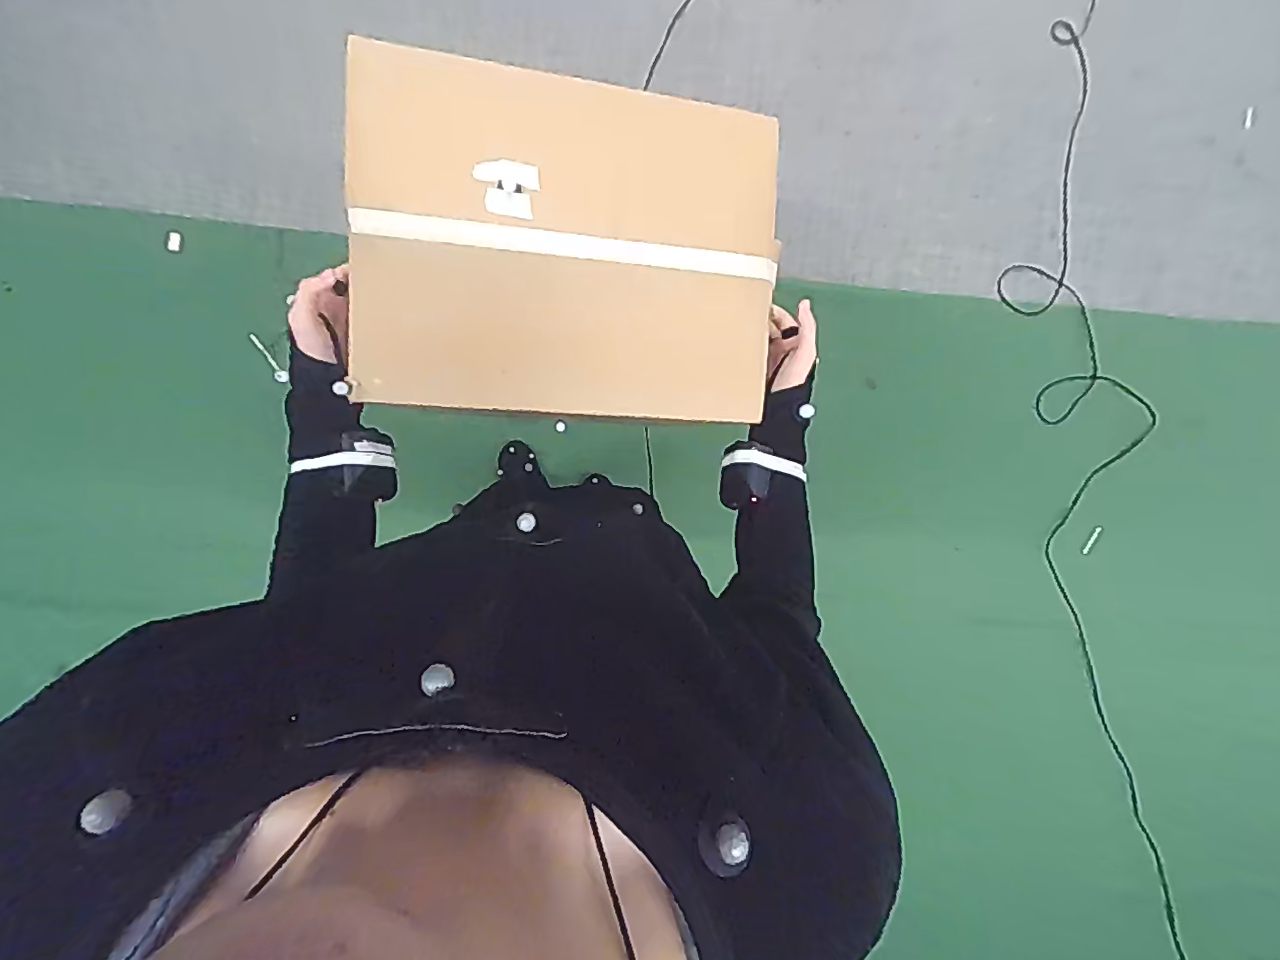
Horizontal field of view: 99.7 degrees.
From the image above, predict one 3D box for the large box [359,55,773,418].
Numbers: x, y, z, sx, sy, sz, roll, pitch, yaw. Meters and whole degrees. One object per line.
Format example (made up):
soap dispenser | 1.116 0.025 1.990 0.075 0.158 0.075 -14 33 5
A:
large box | -0.089 -0.240 0.677 0.408 0.320 0.320 2 95 -12
